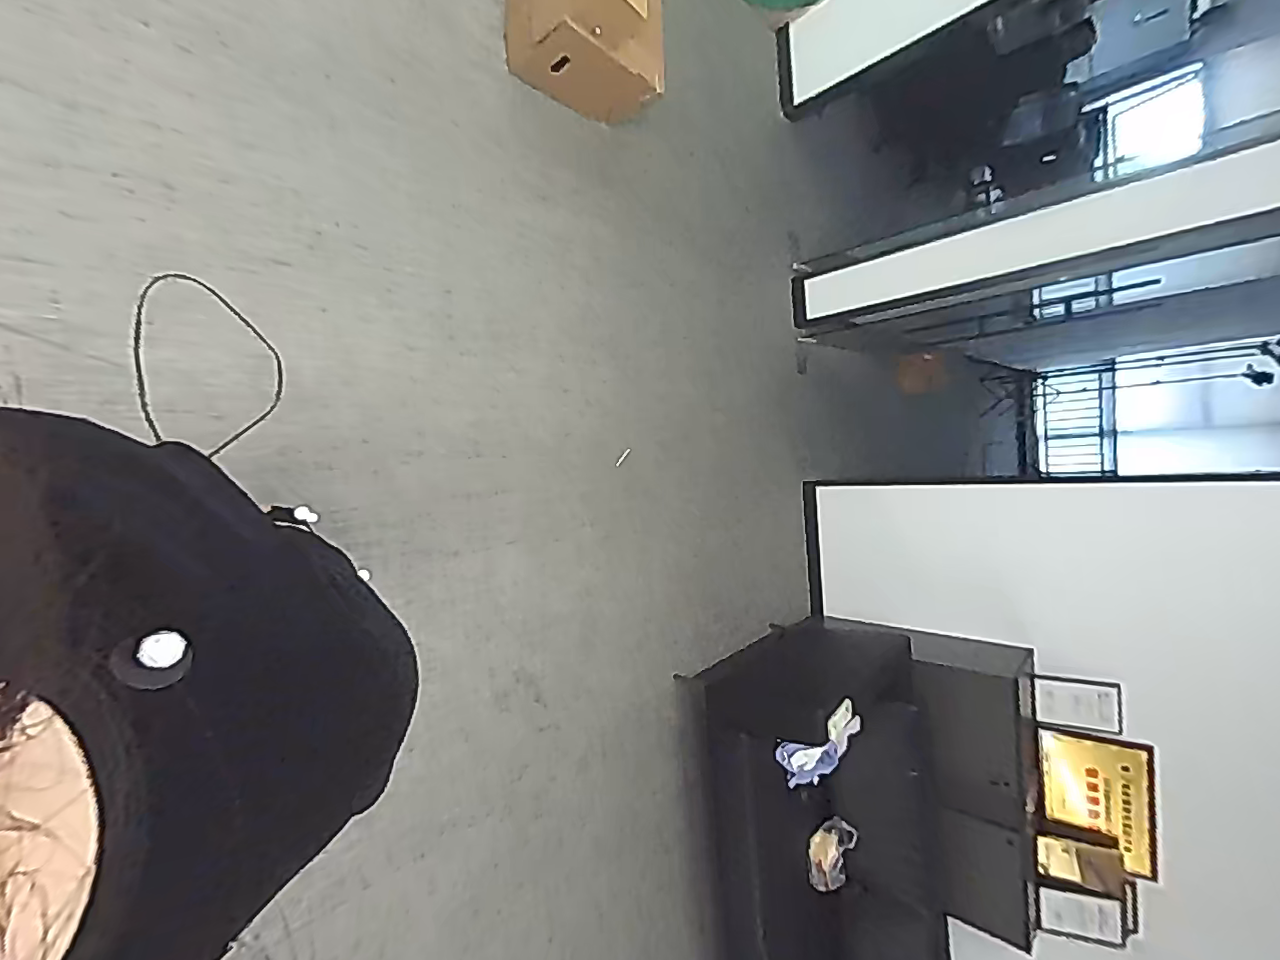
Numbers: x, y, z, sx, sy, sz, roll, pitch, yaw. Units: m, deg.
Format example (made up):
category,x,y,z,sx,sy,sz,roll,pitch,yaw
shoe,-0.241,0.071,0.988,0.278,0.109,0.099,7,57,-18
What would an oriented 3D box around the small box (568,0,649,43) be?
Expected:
category,x,y,z,sx,sy,sz,roll,pitch,yaw
small box,-0.091,-1.445,1.593,0.179,0.176,0.168,1,89,-47
